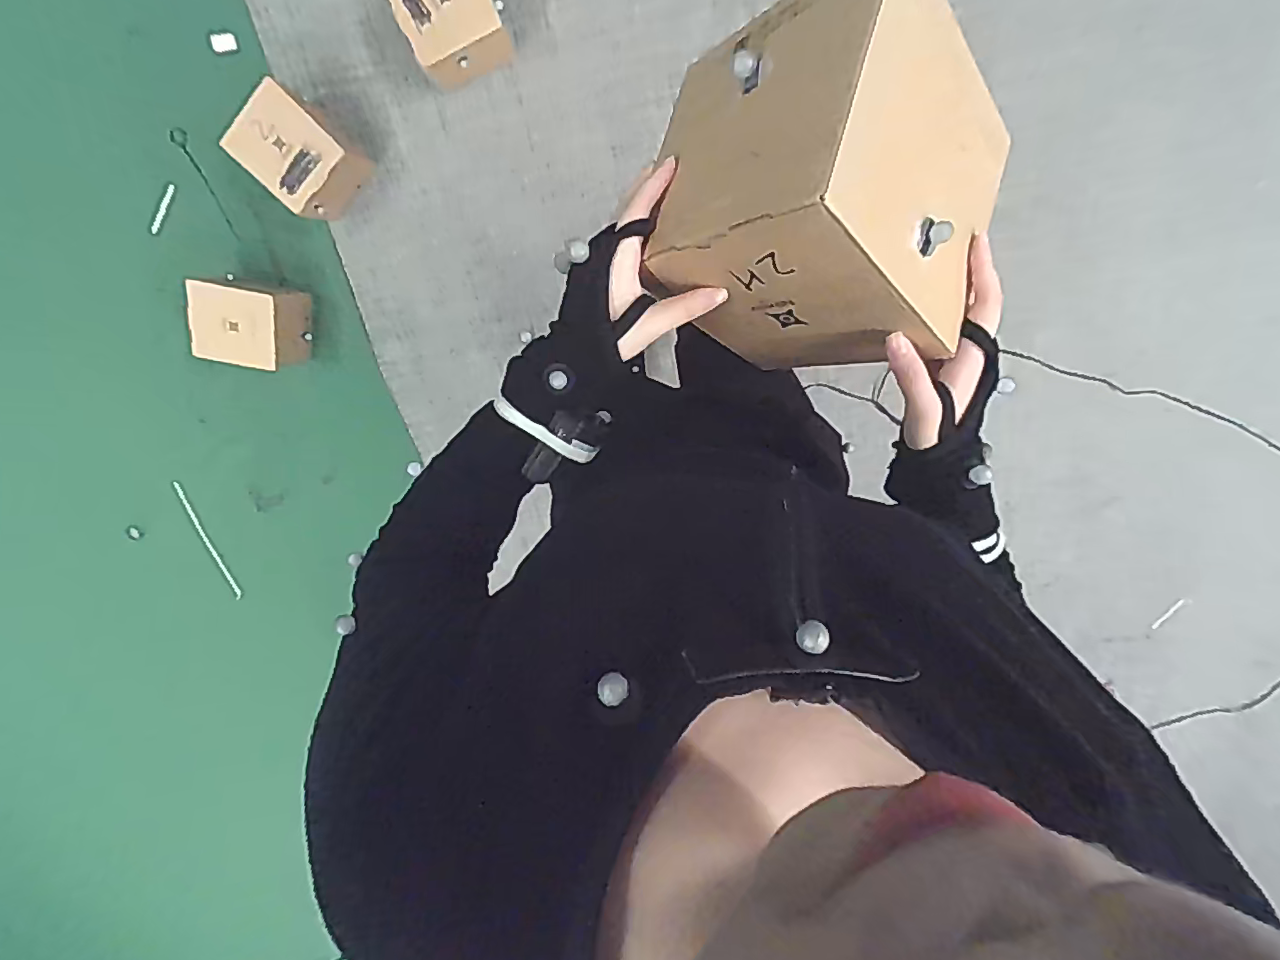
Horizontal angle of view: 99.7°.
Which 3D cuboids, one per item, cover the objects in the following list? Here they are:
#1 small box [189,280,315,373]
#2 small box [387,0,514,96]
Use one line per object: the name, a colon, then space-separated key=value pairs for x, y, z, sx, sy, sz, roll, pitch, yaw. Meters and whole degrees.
small box: x=-0.880 y=-0.355 z=1.240 sx=0.179 sy=0.176 sz=0.168 roll=10 pitch=110 yaw=-7
small box: x=-0.370 y=-0.900 z=1.065 sx=0.179 sy=0.176 sz=0.168 roll=-24 pitch=111 yaw=4
